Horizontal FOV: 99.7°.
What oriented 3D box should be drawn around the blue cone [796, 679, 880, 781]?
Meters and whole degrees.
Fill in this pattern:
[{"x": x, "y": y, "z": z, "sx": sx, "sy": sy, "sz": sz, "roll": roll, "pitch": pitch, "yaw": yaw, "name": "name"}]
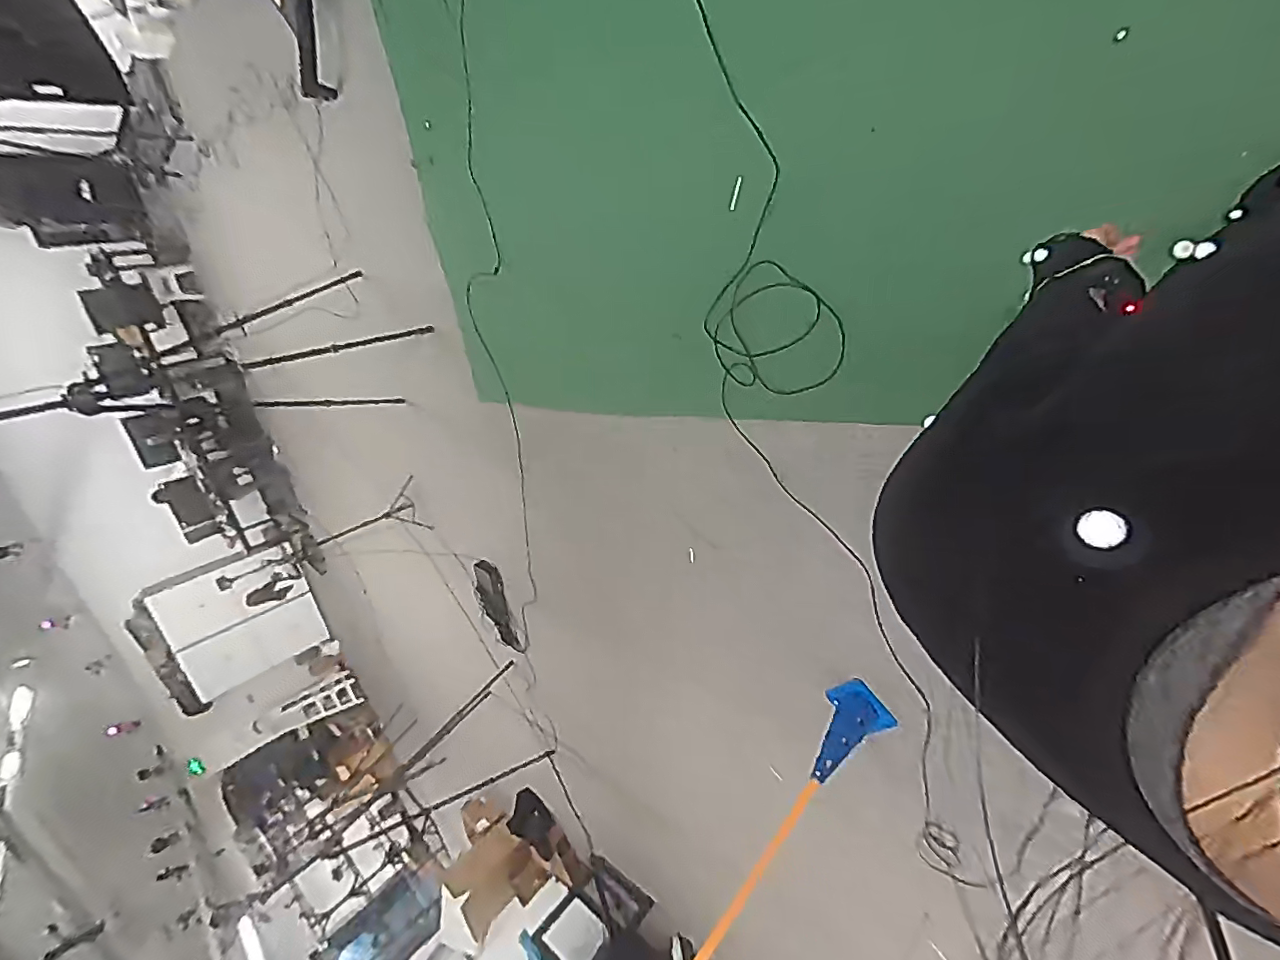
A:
[{"x": 0.650, "y": 0.891, "z": 1.864, "sx": 0.192, "sy": 0.380, "sz": 0.193, "roll": 48, "pitch": 140, "yaw": 12, "name": "blue cone"}]
